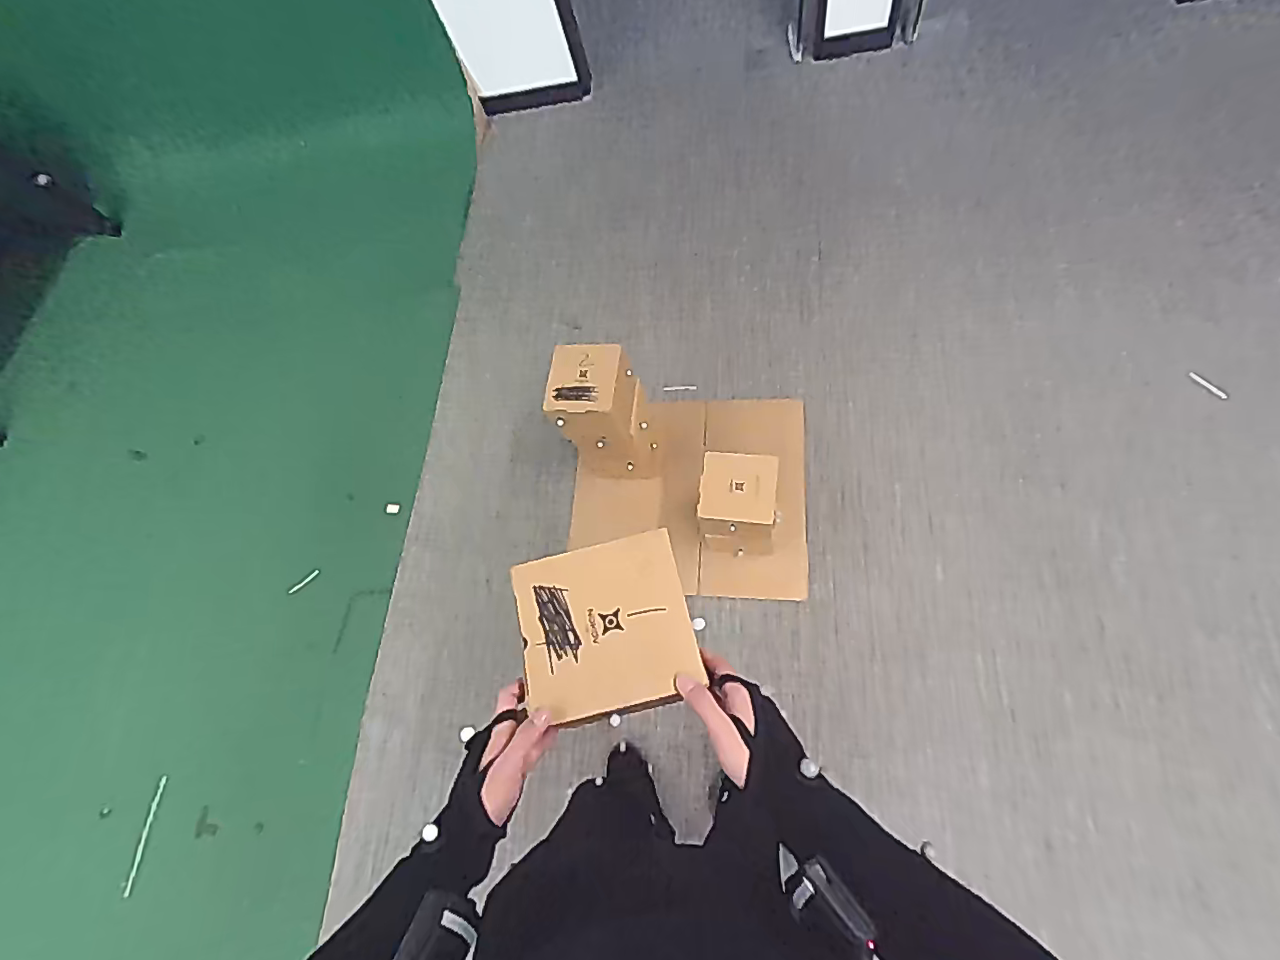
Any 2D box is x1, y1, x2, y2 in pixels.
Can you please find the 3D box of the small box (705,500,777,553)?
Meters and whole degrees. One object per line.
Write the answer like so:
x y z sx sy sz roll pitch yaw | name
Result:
0.277 0.097 1.468 0.179 0.176 0.168 3 71 14 | small box

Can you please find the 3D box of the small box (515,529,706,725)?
-0.026 0.176 0.619 0.179 0.176 0.168 -14 65 0 | small box

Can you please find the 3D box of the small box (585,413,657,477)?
-0.049 -0.114 1.613 0.179 0.176 0.168 2 71 13 | small box

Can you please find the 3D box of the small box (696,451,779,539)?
0.242 0.040 1.319 0.179 0.176 0.168 6 73 15 | small box

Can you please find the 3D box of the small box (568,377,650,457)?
-0.075 -0.167 1.463 0.179 0.176 0.168 2 72 14 | small box
